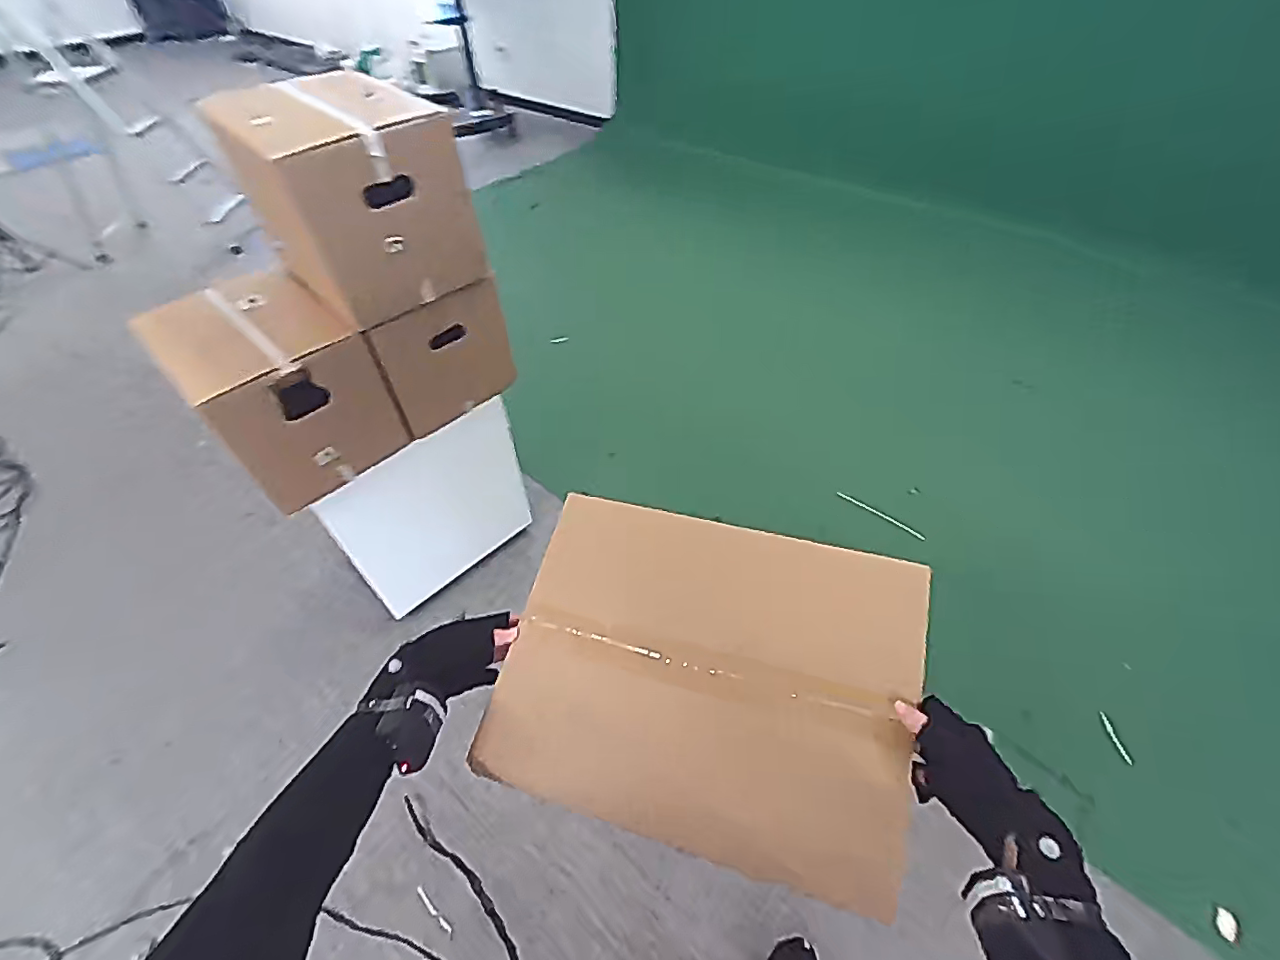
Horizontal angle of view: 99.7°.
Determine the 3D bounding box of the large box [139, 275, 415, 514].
[{"bbox_3d":[-0.784,-0.197,1.205,0.408,0.320,0.320,34,57,29],"label":"large box"}]
